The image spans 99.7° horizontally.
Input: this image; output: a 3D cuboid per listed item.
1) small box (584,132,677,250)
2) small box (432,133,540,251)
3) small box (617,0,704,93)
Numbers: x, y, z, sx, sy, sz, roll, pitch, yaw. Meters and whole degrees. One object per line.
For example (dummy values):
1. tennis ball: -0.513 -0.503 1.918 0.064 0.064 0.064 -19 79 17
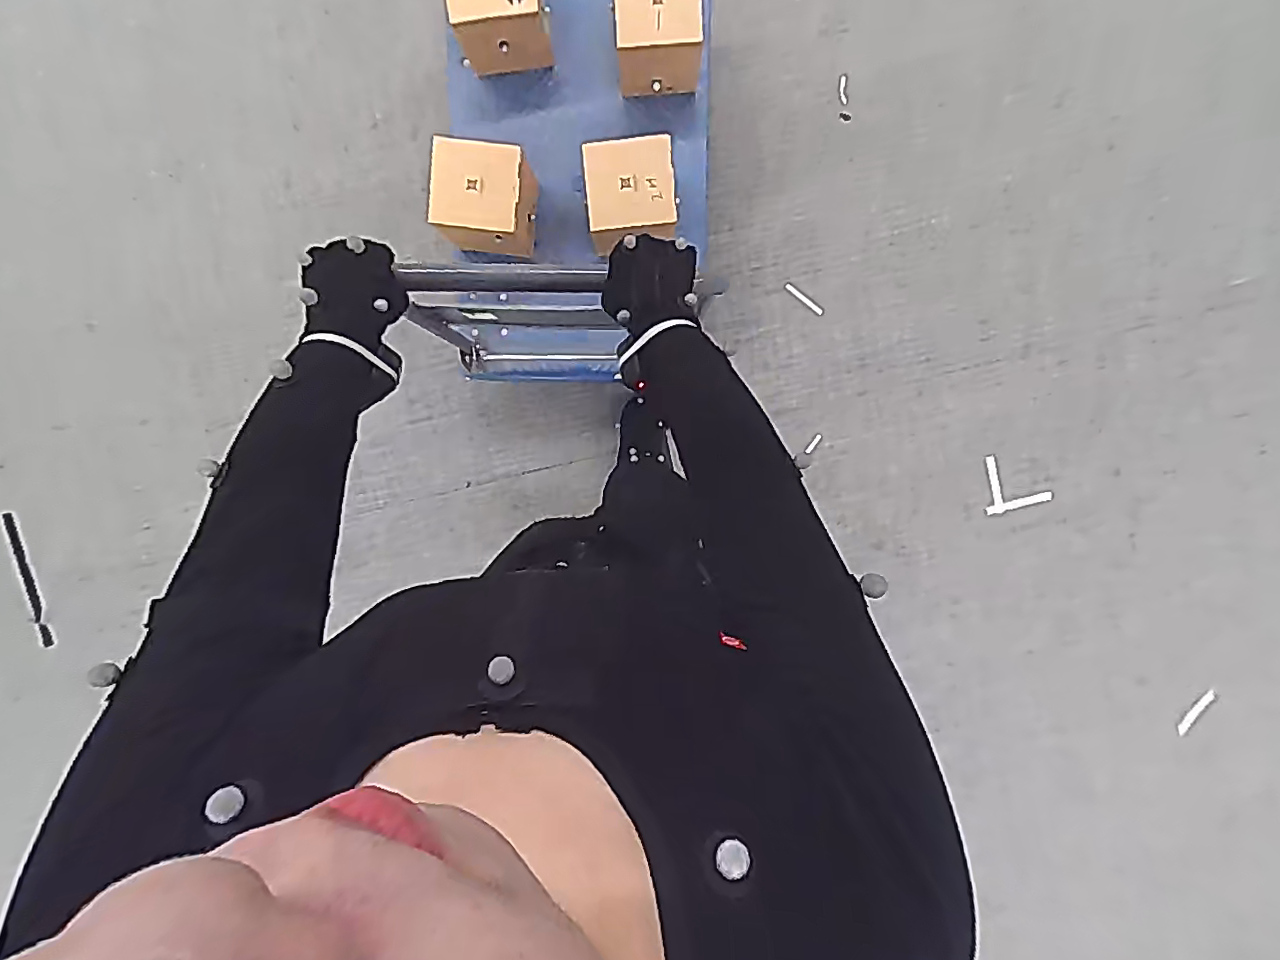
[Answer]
1. small box: -0.015 -0.599 1.140 0.179 0.176 0.168 -5 97 2
2. small box: -0.320 -0.600 1.147 0.179 0.176 0.168 6 97 -1
3. small box: 0.038 -0.930 1.097 0.168 0.176 0.179 -3 98 2
